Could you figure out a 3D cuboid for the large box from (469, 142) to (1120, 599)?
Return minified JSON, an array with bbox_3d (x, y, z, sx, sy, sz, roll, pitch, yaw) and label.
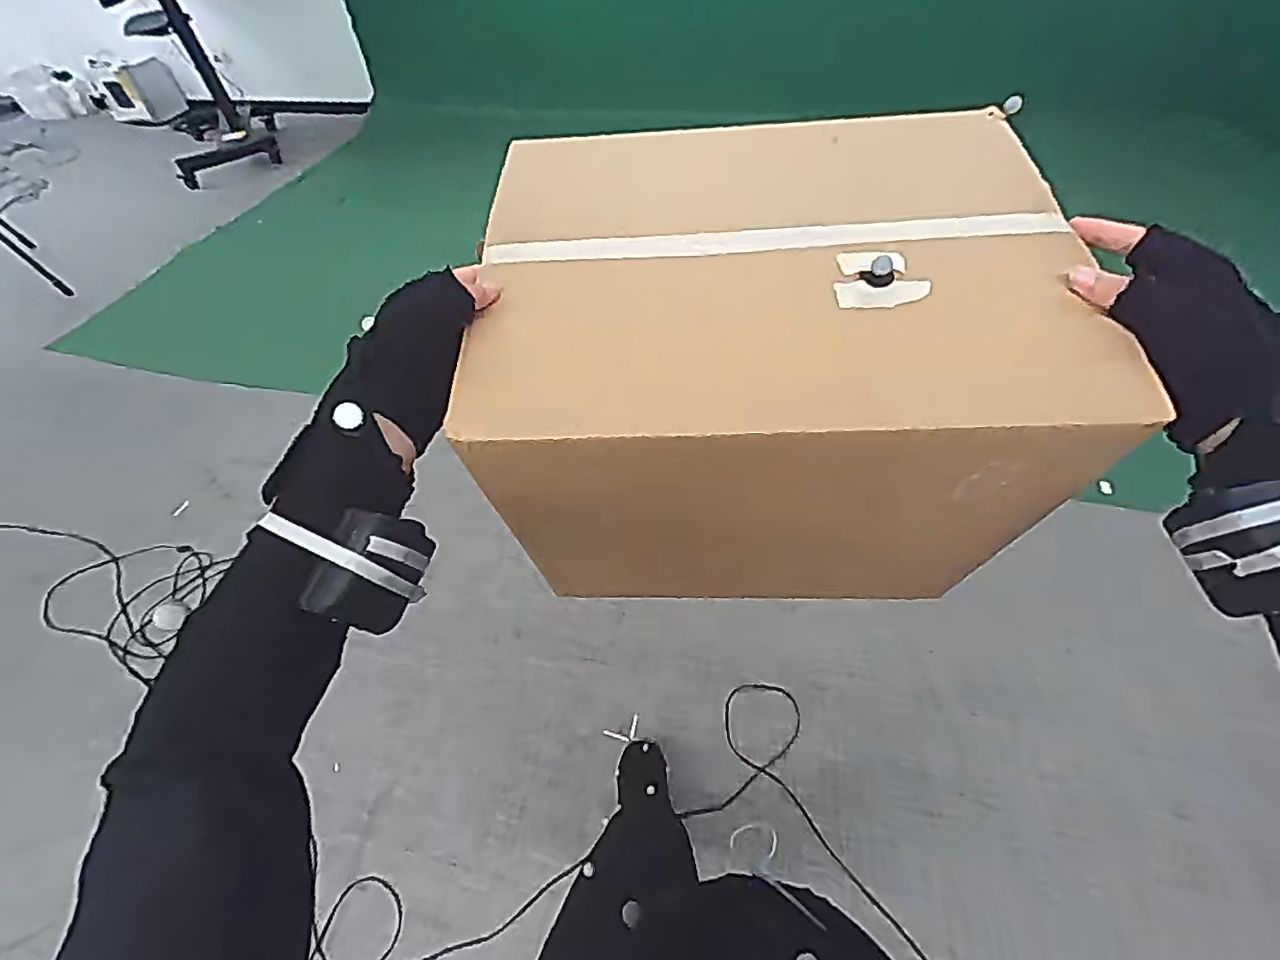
[{"bbox_3d":[0.096,-0.082,0.532,0.408,0.320,0.320,-1,60,4],"label":"large box"}]
